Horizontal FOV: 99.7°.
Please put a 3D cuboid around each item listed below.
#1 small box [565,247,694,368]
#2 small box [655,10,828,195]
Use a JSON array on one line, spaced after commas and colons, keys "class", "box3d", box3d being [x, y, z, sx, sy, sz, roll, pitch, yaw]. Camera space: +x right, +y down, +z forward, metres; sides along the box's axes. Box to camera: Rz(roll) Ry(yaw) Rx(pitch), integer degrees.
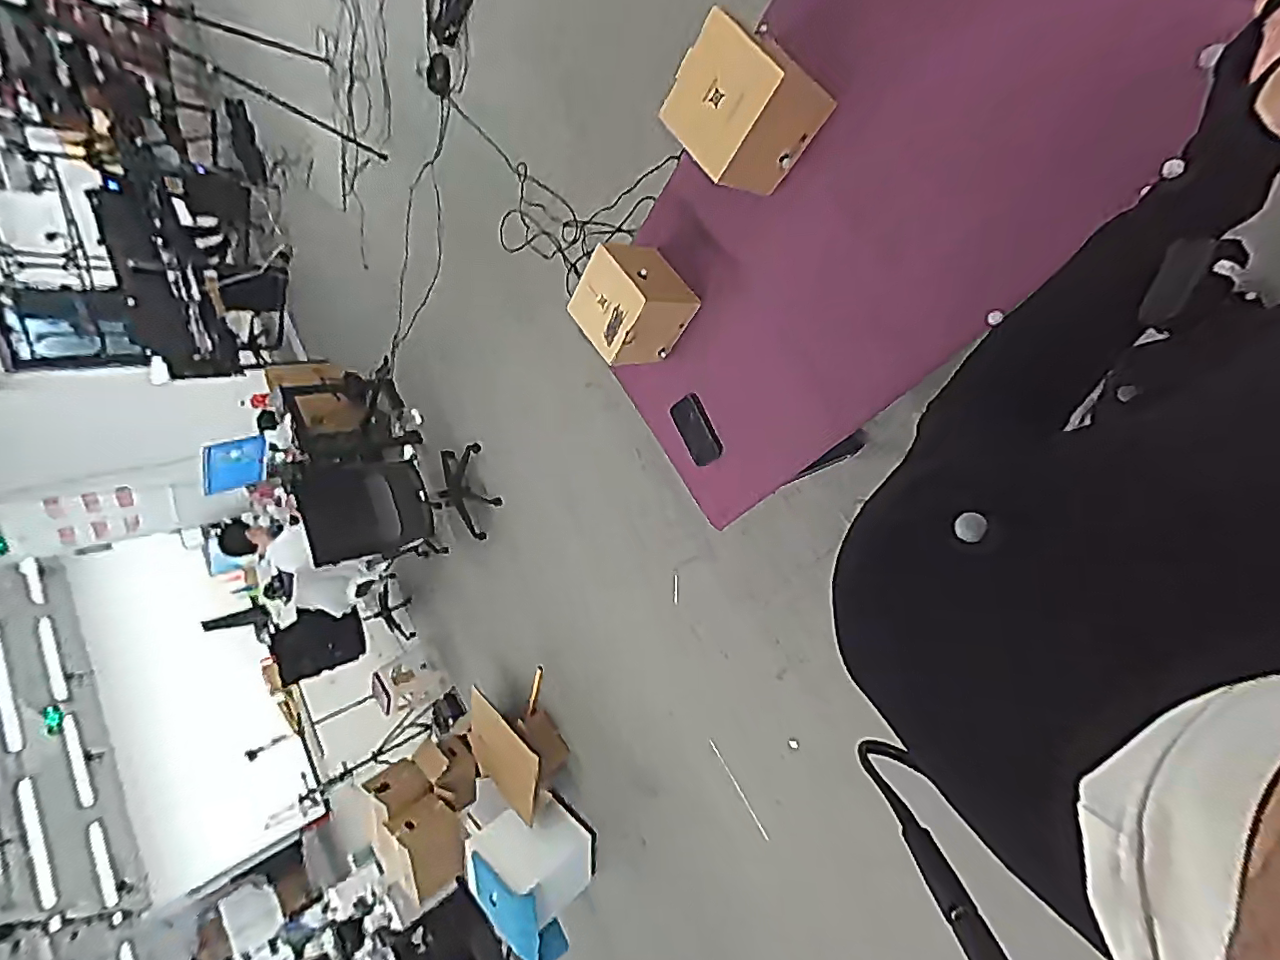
[{"class": "small box", "box3d": [-0.020, -0.357, 1.124, 0.179, 0.176, 0.168, 56, 133, 19]}, {"class": "small box", "box3d": [0.163, -0.592, 0.873, 0.179, 0.176, 0.168, 57, 135, 16]}]
